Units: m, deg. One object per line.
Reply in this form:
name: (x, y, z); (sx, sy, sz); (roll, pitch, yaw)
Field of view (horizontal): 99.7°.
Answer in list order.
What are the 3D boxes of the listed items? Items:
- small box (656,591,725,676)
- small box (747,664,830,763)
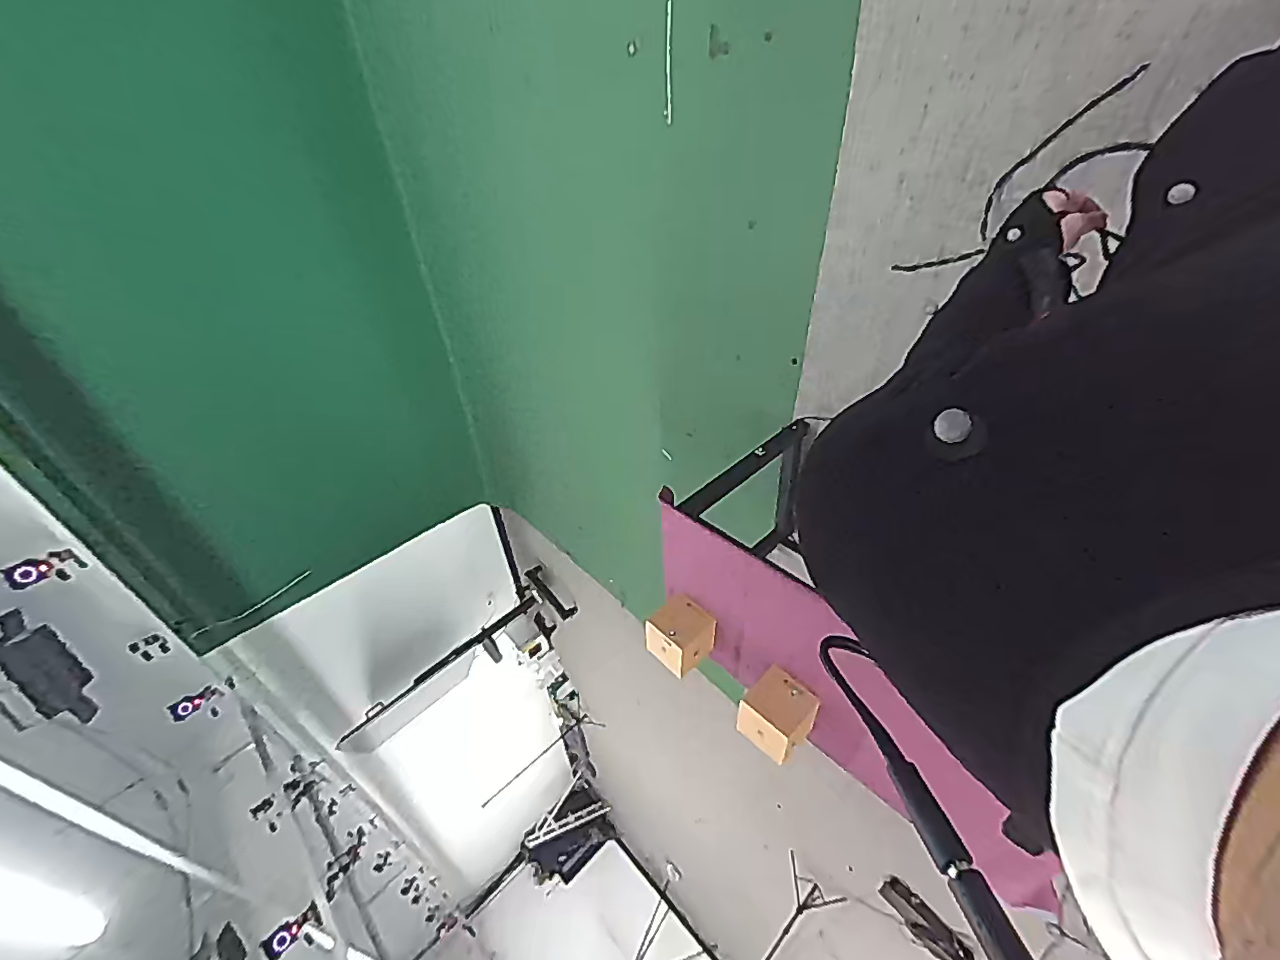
small box: (0.174, 0.516, 1.832); (0.168, 0.176, 0.179); (32, 142, 35)
small box: (0.440, 0.688, 1.603); (0.168, 0.176, 0.179); (32, 141, 36)
